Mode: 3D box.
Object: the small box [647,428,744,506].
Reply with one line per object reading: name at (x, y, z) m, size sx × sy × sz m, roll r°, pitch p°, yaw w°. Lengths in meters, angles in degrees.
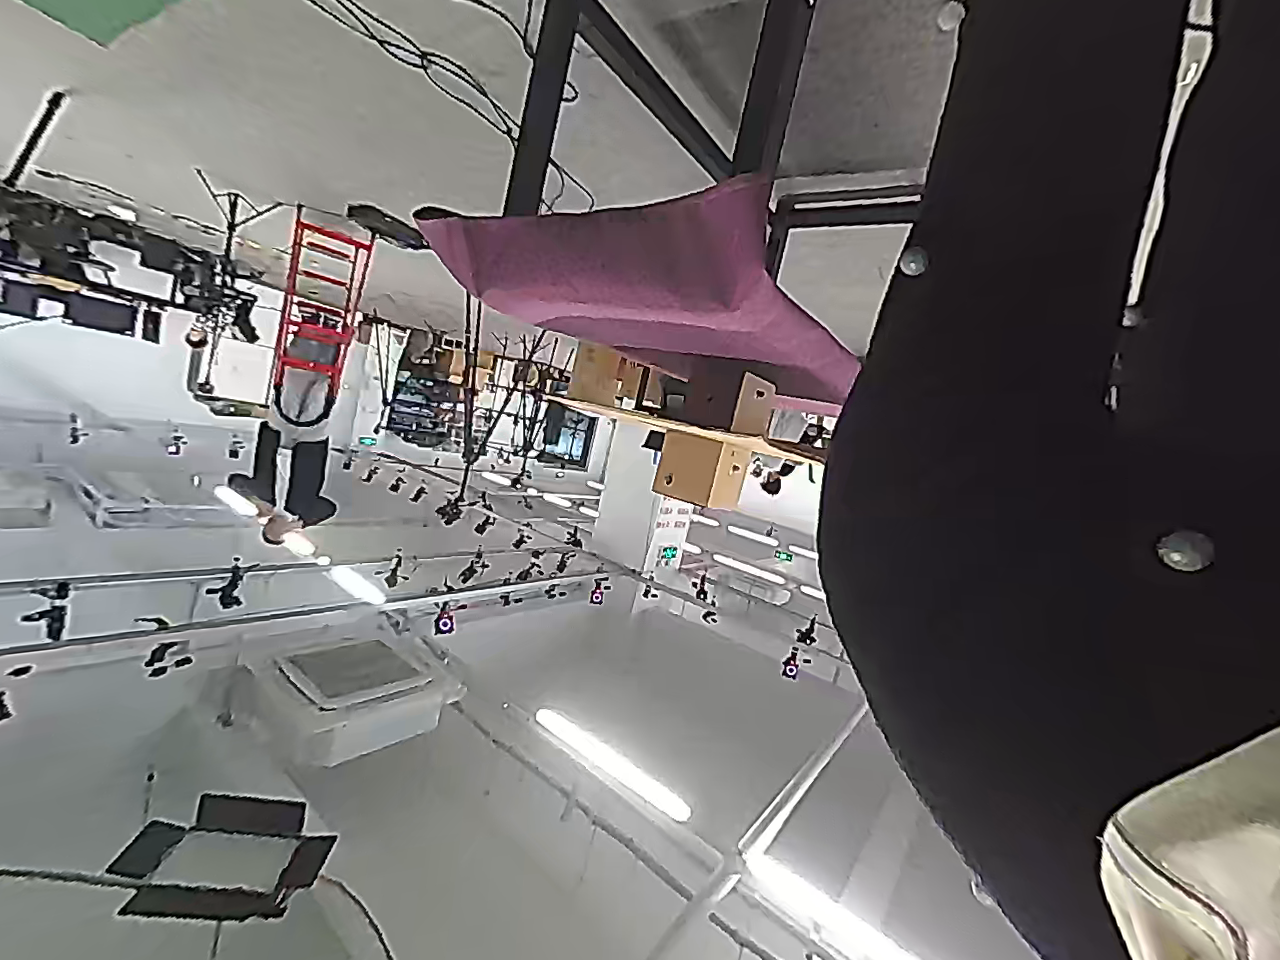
small box at (0.149, -0.037, 1.416) m, size 0.179 × 0.176 × 0.168 m, roll 16°, pitch -175°, yaw 35°
